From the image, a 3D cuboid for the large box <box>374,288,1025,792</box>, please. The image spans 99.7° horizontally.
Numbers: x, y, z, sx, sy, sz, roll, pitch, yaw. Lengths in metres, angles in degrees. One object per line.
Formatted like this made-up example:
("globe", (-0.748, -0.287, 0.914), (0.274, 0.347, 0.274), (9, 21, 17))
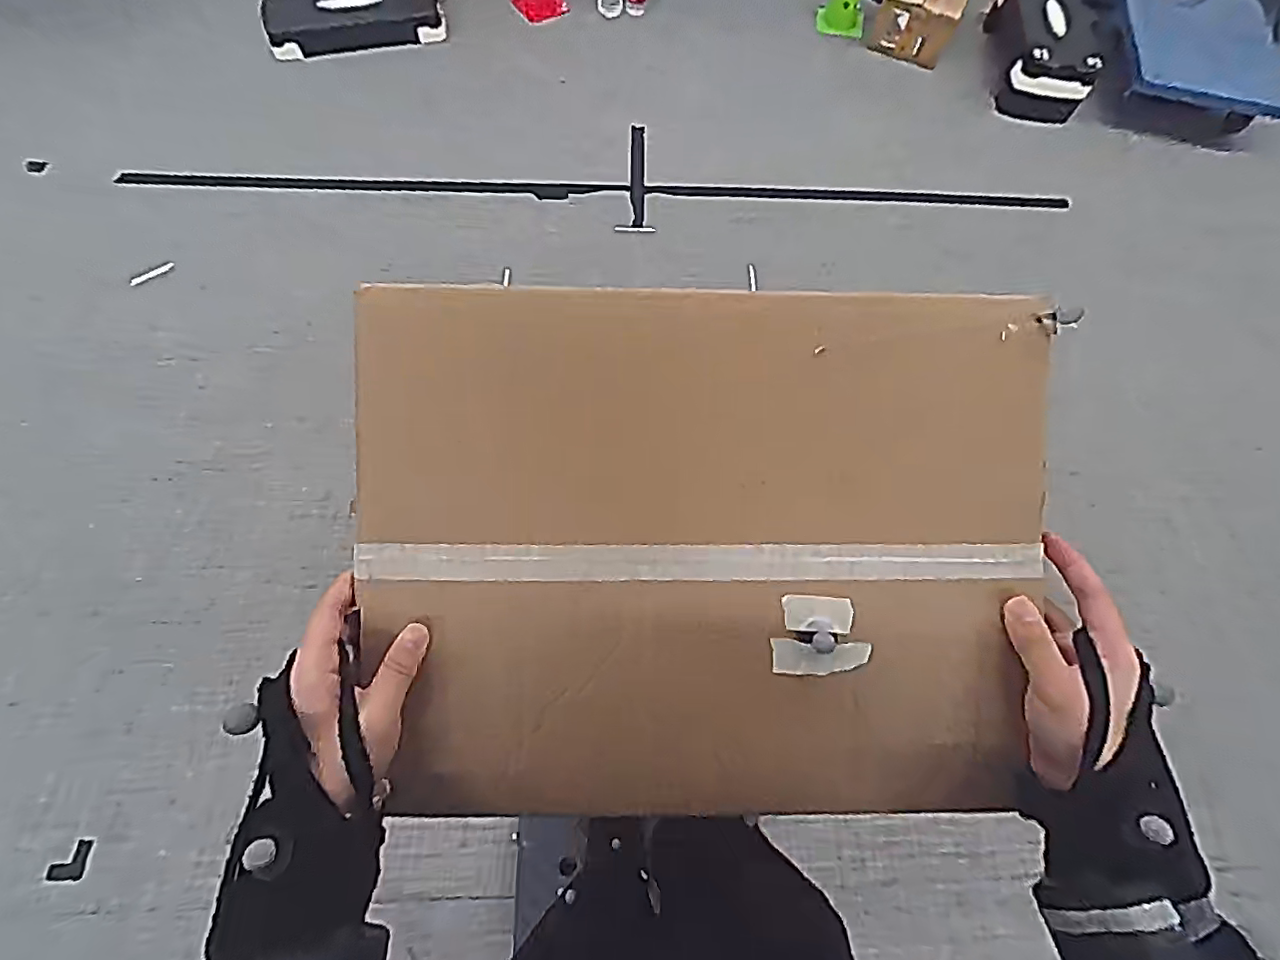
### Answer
("large box", (0.034, 0.032, 0.483), (0.408, 0.320, 0.320), (0, 93, -2))
